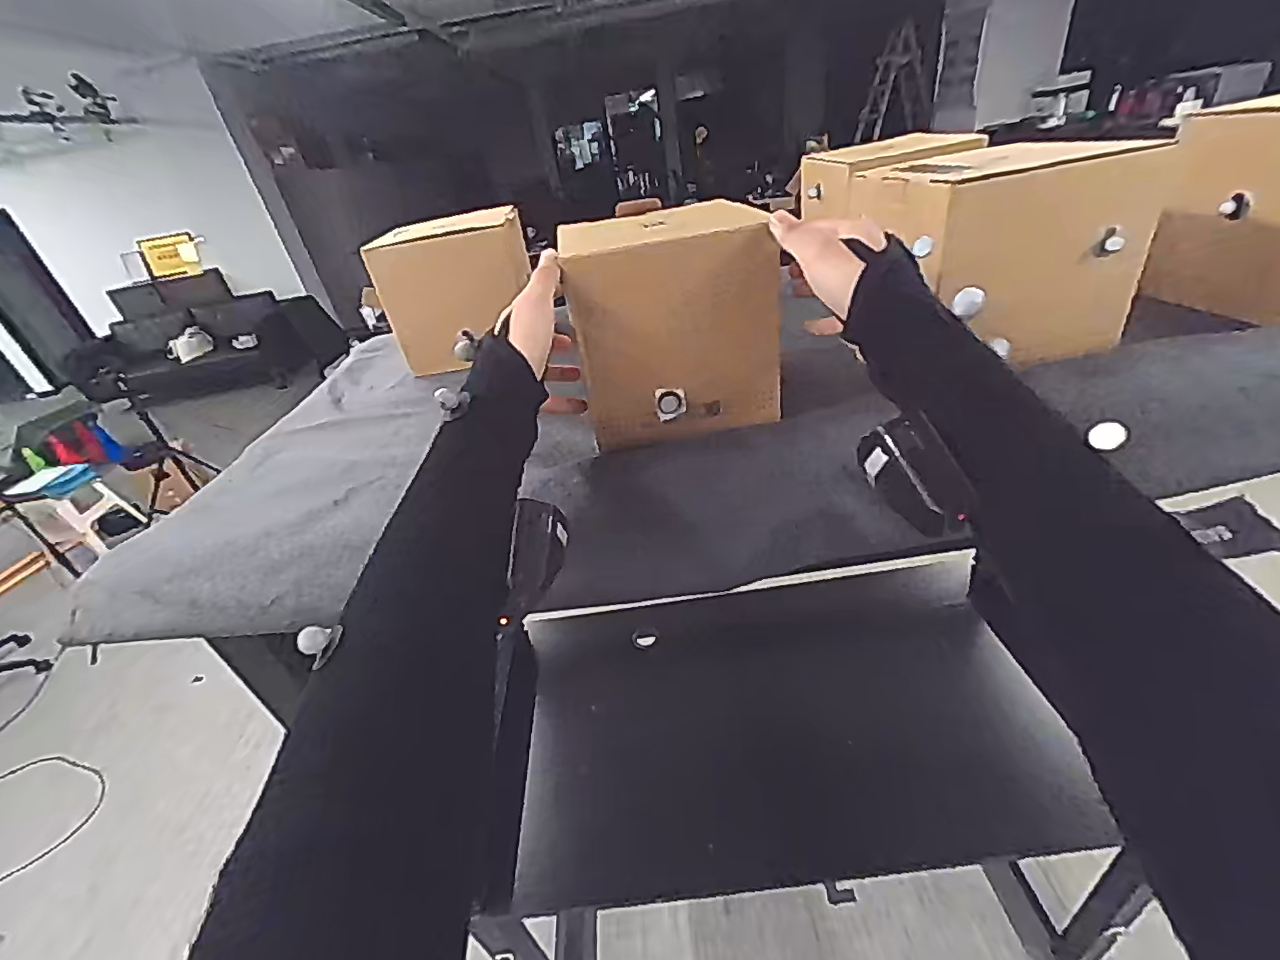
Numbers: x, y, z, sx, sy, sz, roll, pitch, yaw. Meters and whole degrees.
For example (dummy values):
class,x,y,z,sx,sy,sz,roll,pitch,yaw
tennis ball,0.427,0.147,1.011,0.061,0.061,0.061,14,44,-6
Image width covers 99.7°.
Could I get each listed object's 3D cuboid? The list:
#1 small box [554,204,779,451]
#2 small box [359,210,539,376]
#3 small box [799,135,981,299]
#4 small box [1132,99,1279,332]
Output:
class,x,y,z,sx,sy,sz,roll,pitch,yaw
small box,0.020,-0.145,0.498,0.168,0.176,0.179,-11,32,-2
small box,-0.244,-0.259,0.747,0.179,0.176,0.168,-9,33,0
small box,0.326,-0.357,0.741,0.168,0.176,0.179,-10,33,1
small box,0.606,-0.240,0.478,0.168,0.176,0.179,-11,32,0
